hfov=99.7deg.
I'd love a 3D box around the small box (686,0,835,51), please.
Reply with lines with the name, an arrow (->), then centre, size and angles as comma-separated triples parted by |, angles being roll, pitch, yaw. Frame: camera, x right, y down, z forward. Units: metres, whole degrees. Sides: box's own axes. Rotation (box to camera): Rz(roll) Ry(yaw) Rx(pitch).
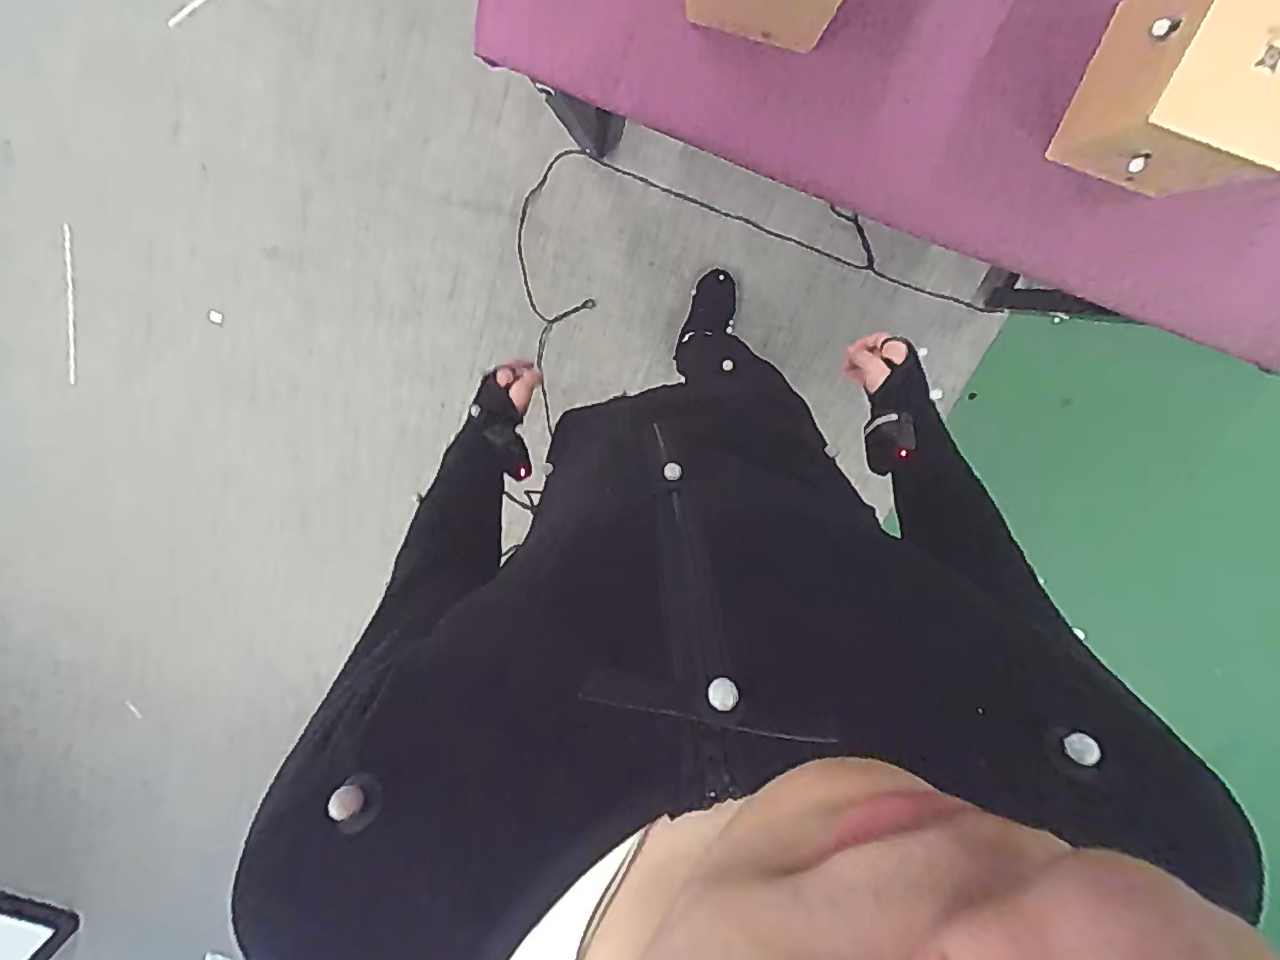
small box -> 0.146, -0.610, 0.575 | 0.168, 0.176, 0.179 | 14, 110, -1

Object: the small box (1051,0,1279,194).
small box -> 0.615, -0.445, 0.604 | 0.168, 0.176, 0.179 | 18, 109, -2
